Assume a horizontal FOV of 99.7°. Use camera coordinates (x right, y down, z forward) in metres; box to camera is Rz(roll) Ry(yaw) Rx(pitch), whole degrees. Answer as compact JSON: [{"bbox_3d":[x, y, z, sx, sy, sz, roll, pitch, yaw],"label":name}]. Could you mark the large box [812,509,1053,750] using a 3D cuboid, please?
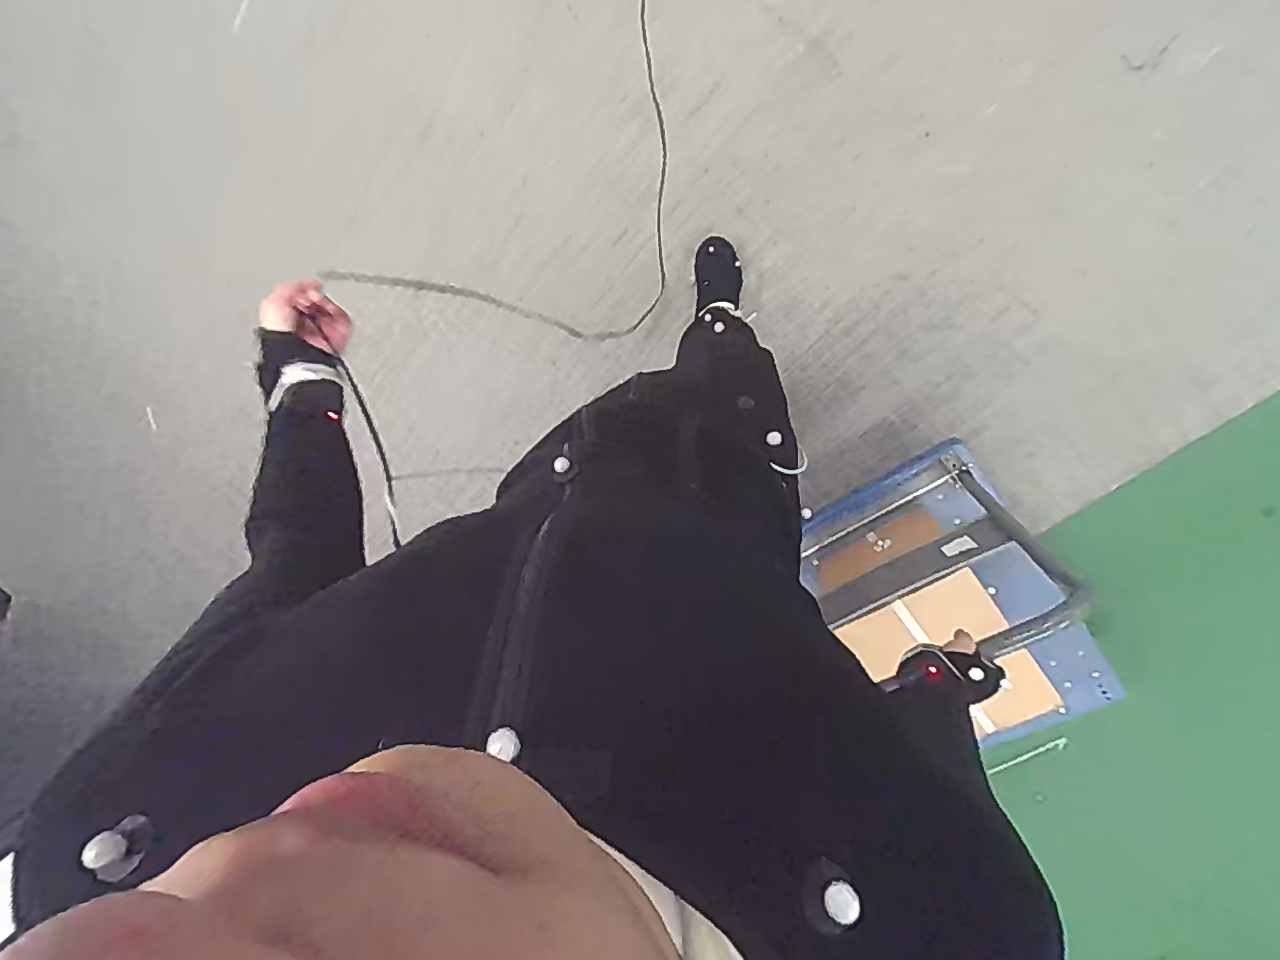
[{"bbox_3d":[0.676,0.351,1.316,0.320,0.320,0.408,-35,101,22],"label":"large box"}]
